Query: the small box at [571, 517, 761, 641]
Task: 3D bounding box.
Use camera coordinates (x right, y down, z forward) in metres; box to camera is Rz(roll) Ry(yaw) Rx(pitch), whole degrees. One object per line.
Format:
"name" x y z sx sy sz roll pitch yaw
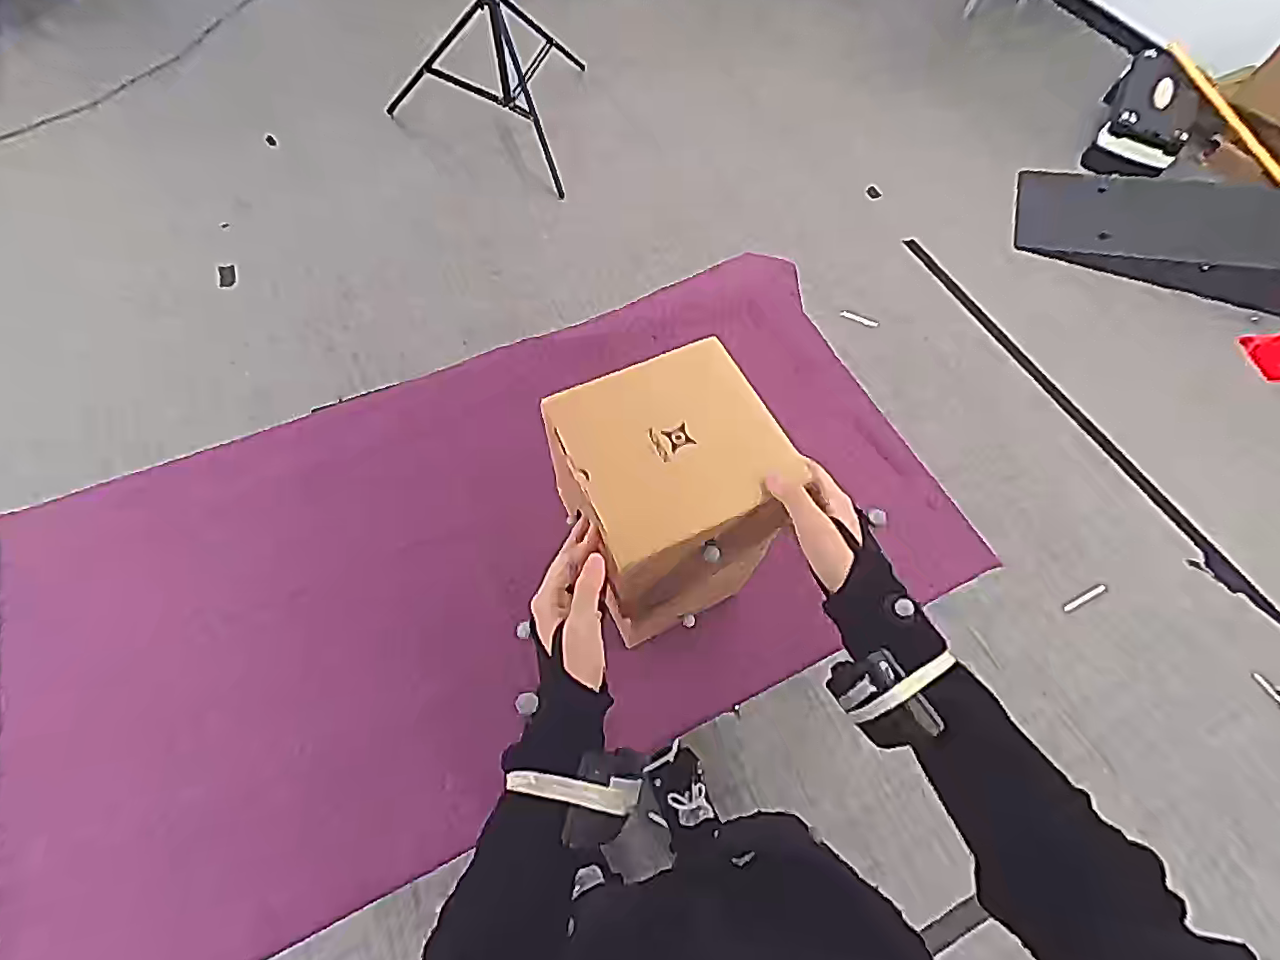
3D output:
"small box" 0.018 0.075 0.667 0.168 0.176 0.179 -24 68 -13

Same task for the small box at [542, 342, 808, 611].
"small box" 0.023 0.005 0.520 0.179 0.176 0.168 -24 68 -12
